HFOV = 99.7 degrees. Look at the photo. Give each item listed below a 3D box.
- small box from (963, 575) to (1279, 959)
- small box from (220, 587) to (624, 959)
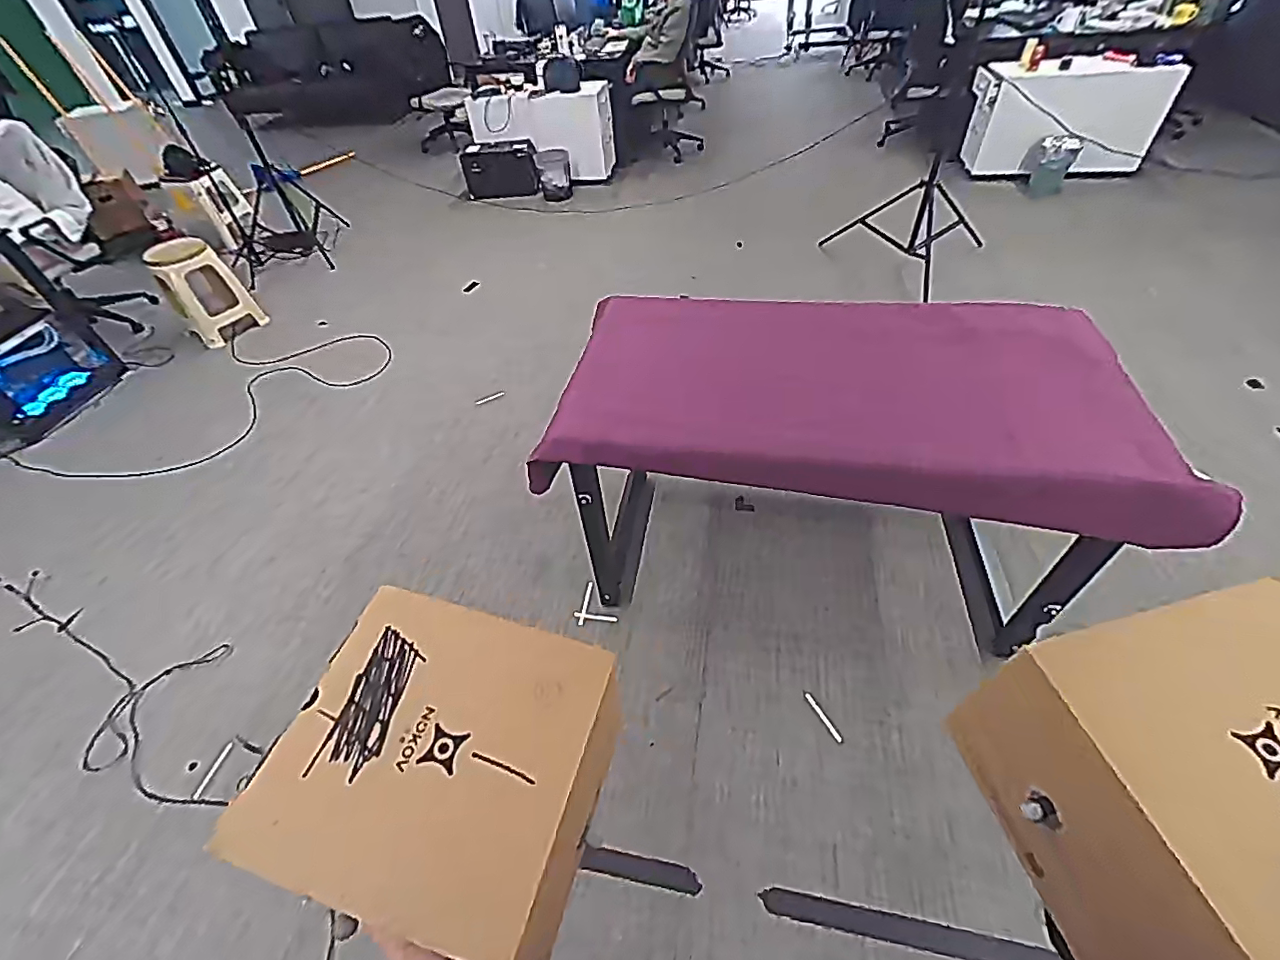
[{"bbox_3d":[0.343,0.190,0.346,0.179,0.176,0.168,-14,51,-3],"label":"small box"},{"bbox_3d":[-0.118,0.204,0.377,0.179,0.176,0.168,14,52,9],"label":"small box"}]
